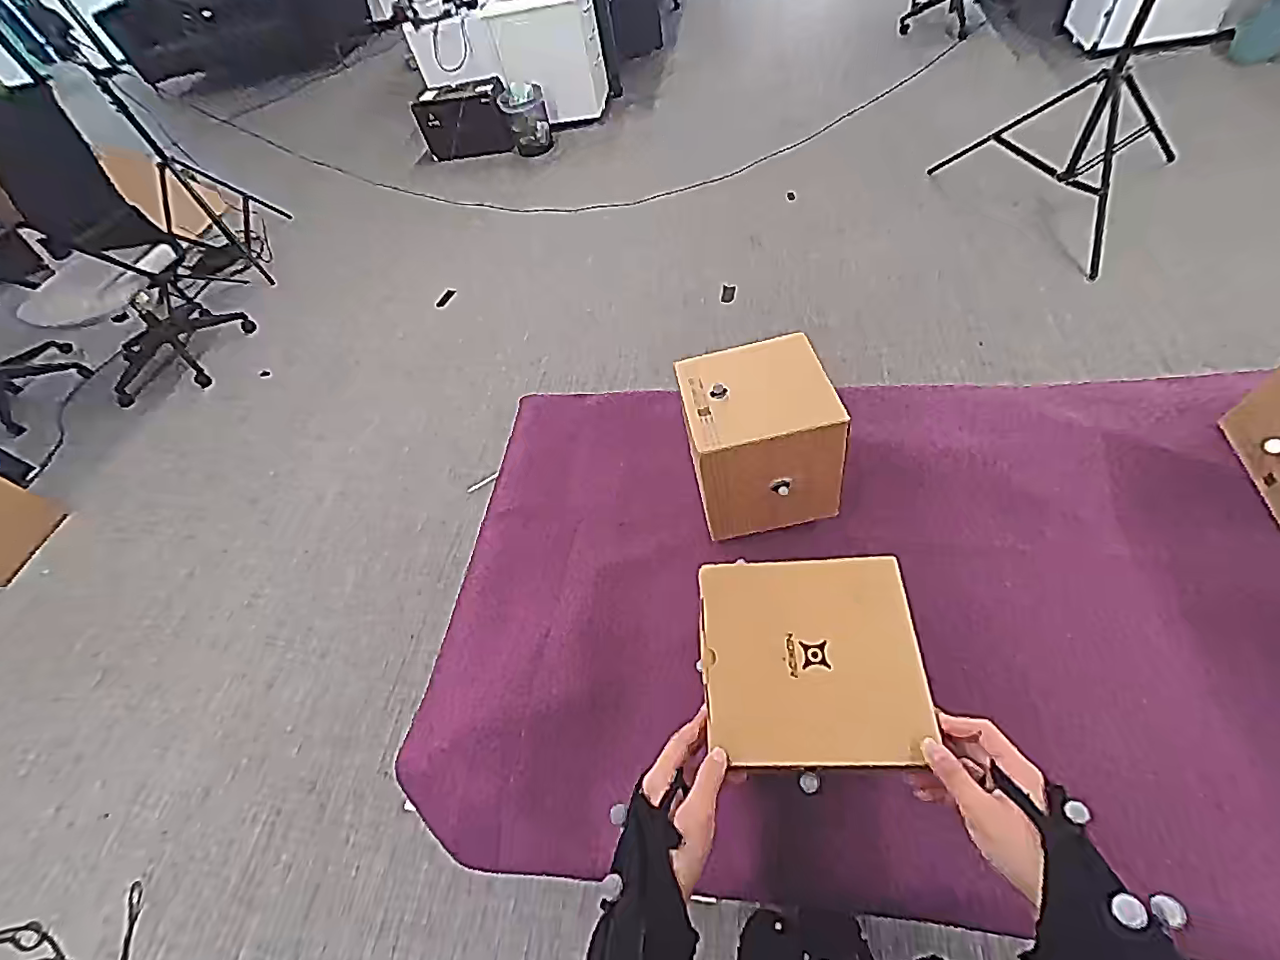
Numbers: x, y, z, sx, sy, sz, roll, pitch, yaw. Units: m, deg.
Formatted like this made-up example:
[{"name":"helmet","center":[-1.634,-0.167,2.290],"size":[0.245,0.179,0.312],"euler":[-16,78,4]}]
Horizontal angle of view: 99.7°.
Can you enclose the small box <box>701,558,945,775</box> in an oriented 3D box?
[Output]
[{"name":"small box","center":[0.152,0.183,0.514],"size":[0.179,0.176,0.168],"euler":[-4,59,8]}]

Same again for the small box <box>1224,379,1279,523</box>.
[{"name":"small box","center":[0.802,-0.051,0.565],"size":[0.179,0.176,0.168],"euler":[1,56,12]}]
